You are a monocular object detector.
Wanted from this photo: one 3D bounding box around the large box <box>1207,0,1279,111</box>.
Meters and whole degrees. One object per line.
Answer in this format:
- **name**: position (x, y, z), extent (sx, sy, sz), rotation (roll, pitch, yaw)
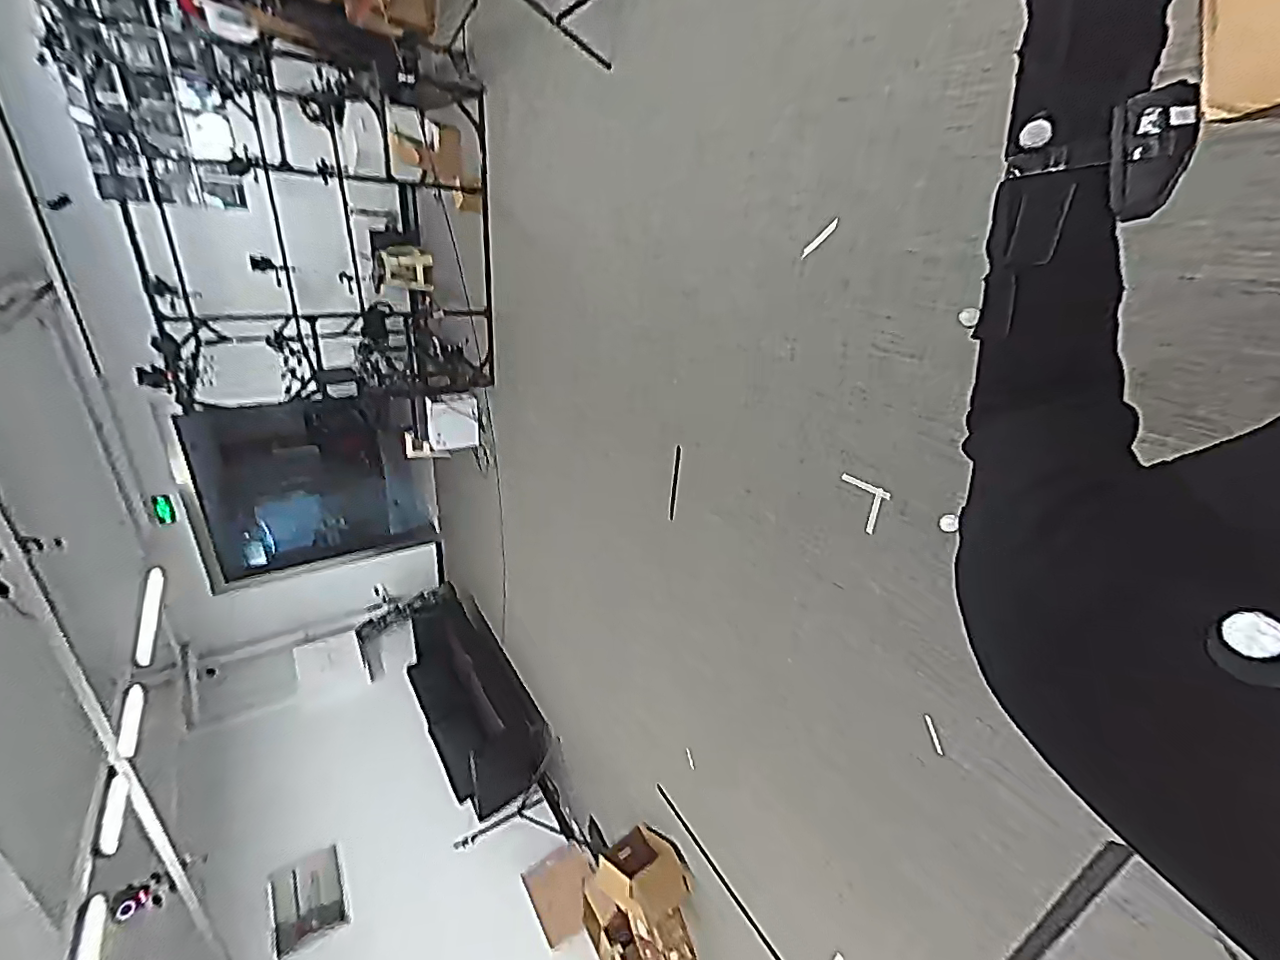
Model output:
- **large box**: position (0.491, -0.378, 0.164), extent (0.408, 0.320, 0.320), rotation (7, 117, 57)
